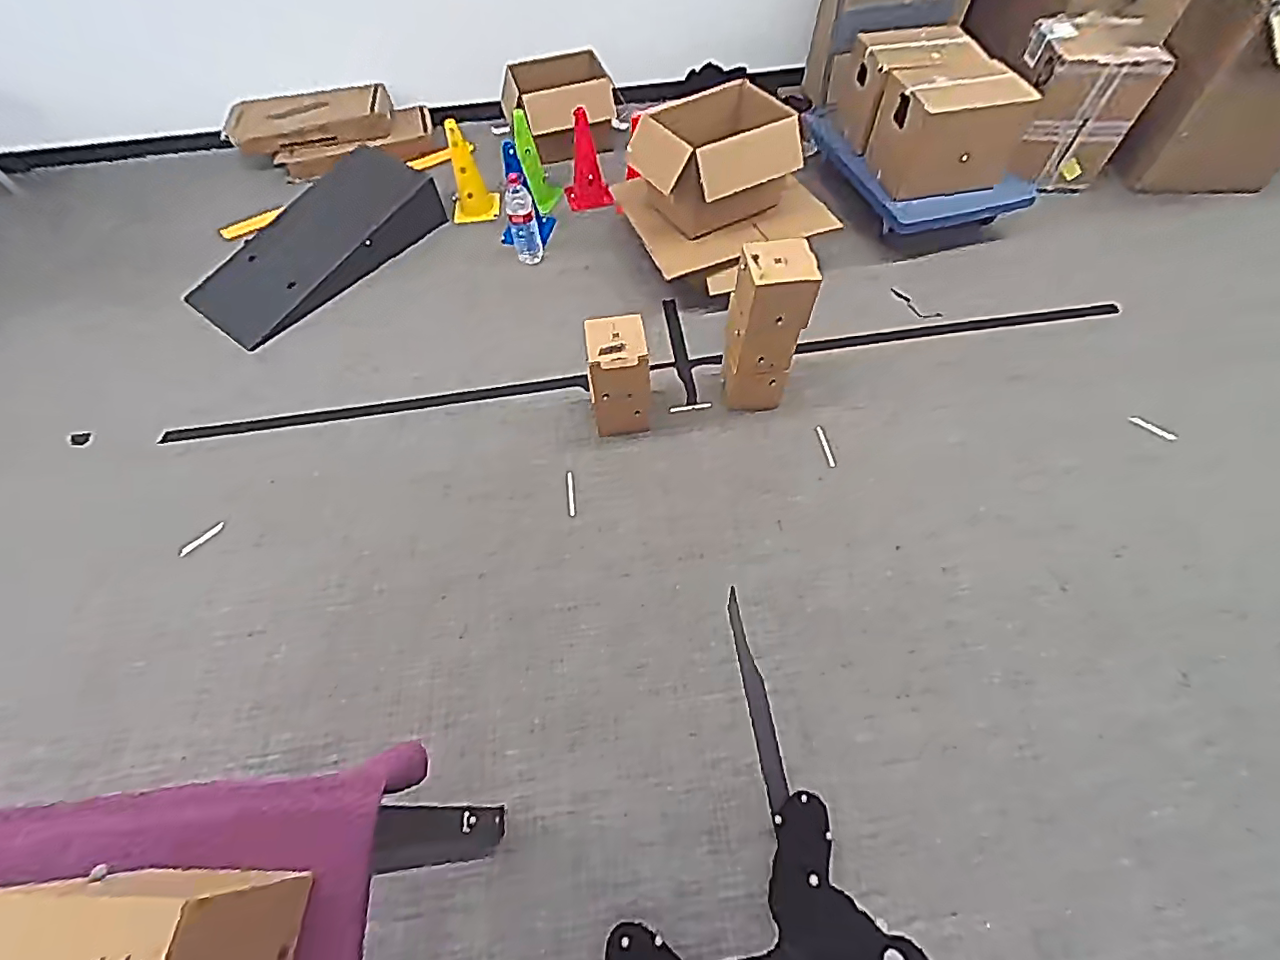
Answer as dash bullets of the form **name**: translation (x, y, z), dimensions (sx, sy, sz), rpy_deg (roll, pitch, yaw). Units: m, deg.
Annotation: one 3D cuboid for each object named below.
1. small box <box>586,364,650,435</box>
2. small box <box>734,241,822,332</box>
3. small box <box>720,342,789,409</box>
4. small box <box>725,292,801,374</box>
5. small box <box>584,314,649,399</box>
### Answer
- **small box**: translation (-0.066, -0.262, 1.704), dimensions (0.179, 0.176, 0.168), rpy_deg (-10, 58, -3)
- **small box**: translation (0.365, -0.520, 1.463), dimensions (0.179, 0.176, 0.168), rpy_deg (-5, 59, -3)
- **small box**: translation (0.362, -0.344, 1.738), dimensions (0.179, 0.176, 0.168), rpy_deg (-3, 58, -1)
- **small box**: translation (0.356, -0.440, 1.606), dimensions (0.168, 0.176, 0.179), rpy_deg (-7, 59, -3)
- **small box**: translation (-0.065, -0.349, 1.564), dimensions (0.168, 0.176, 0.179), rpy_deg (-7, 57, -2)
